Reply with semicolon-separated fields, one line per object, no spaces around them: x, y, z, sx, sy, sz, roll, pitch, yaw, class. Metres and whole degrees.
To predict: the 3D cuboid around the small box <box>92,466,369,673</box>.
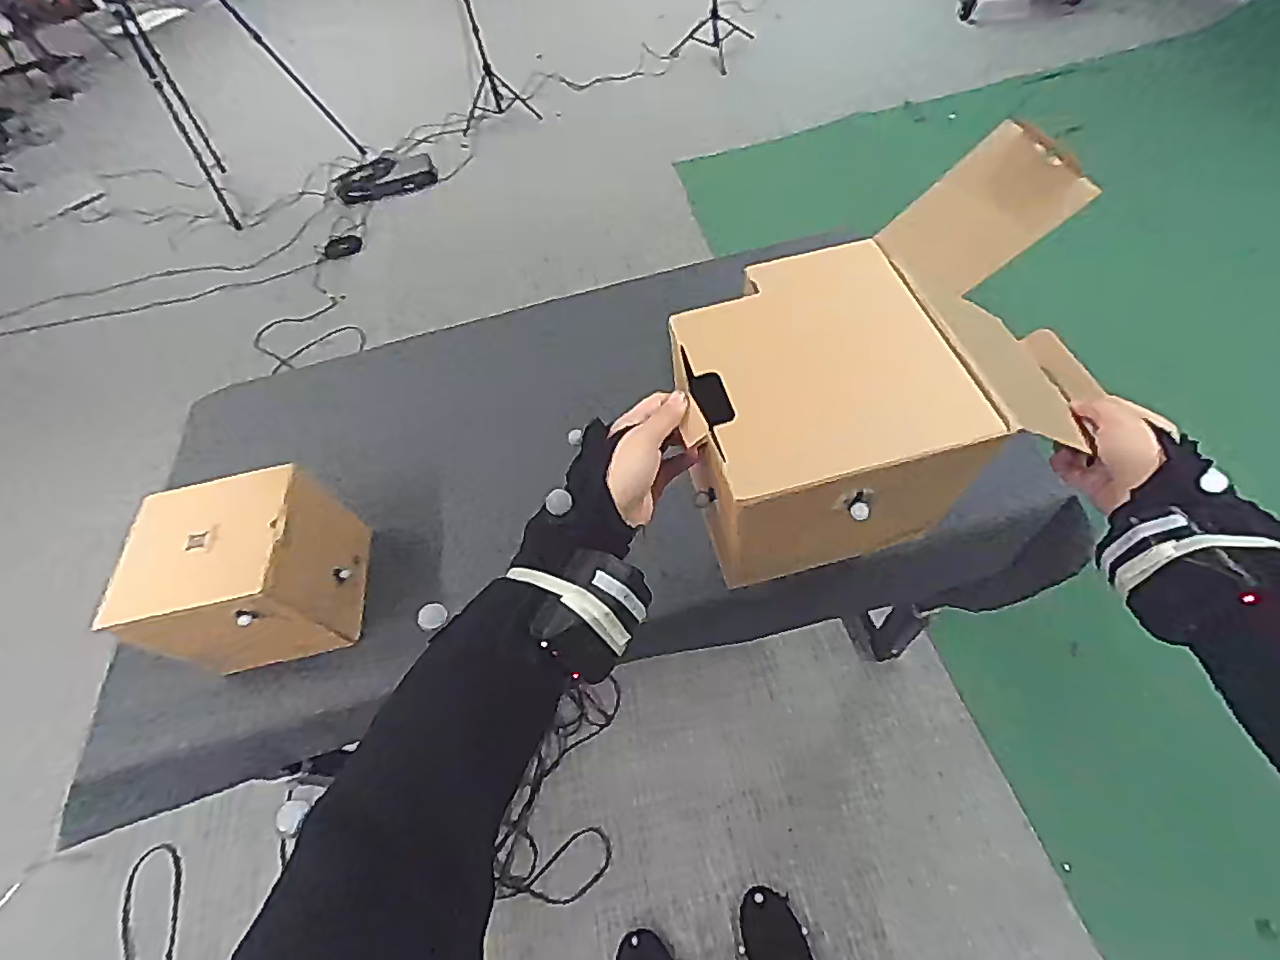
-0.457;0.112;0.640;0.179;0.176;0.168;-13;55;0;small box
